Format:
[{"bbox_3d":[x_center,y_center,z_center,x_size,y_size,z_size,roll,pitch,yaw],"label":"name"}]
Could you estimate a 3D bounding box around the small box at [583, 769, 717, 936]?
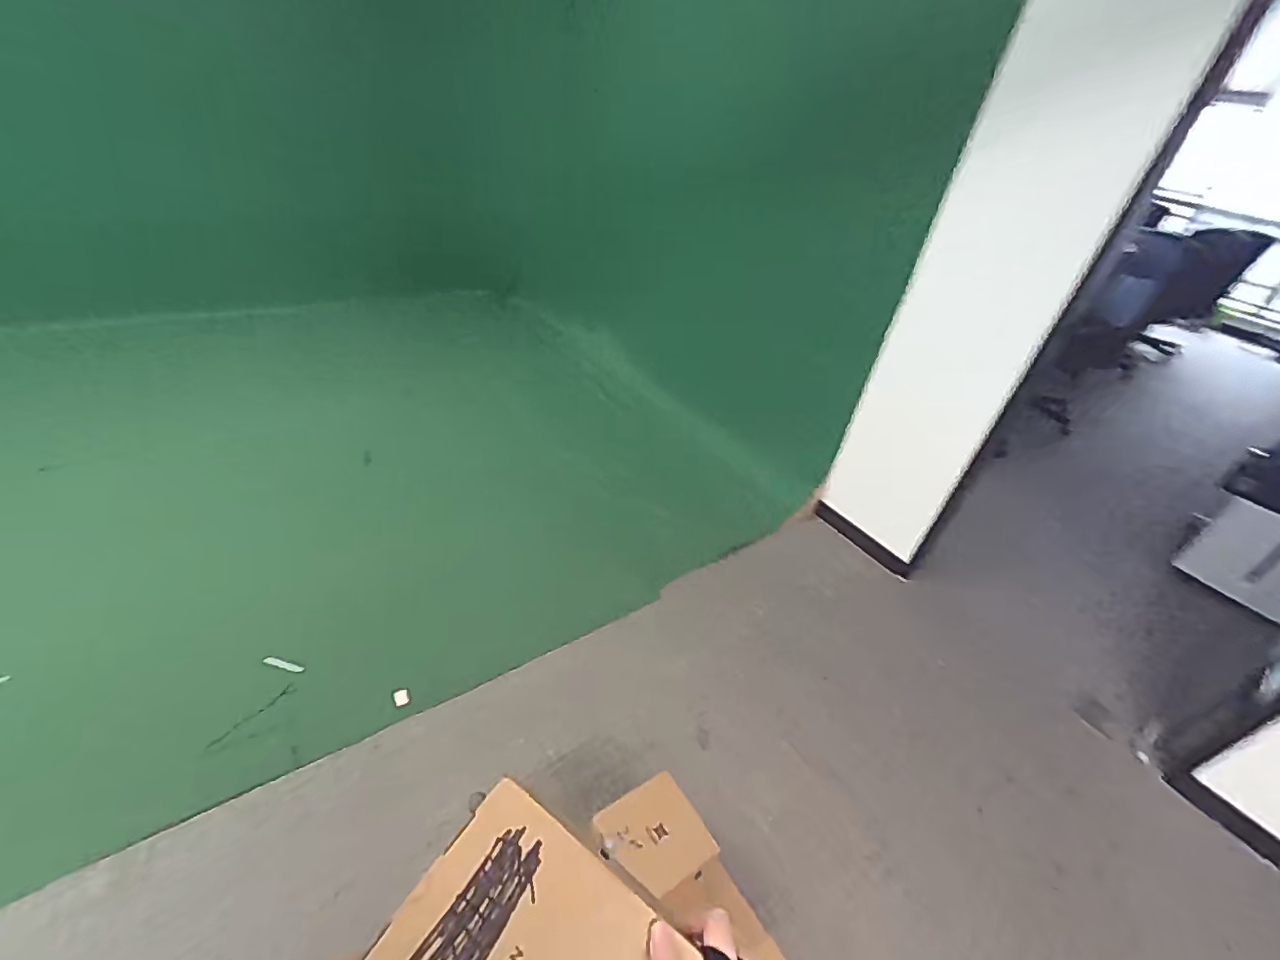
[{"bbox_3d":[0.011,0.694,1.015,0.179,0.176,0.168,-15,42,-33],"label":"small box"}]
